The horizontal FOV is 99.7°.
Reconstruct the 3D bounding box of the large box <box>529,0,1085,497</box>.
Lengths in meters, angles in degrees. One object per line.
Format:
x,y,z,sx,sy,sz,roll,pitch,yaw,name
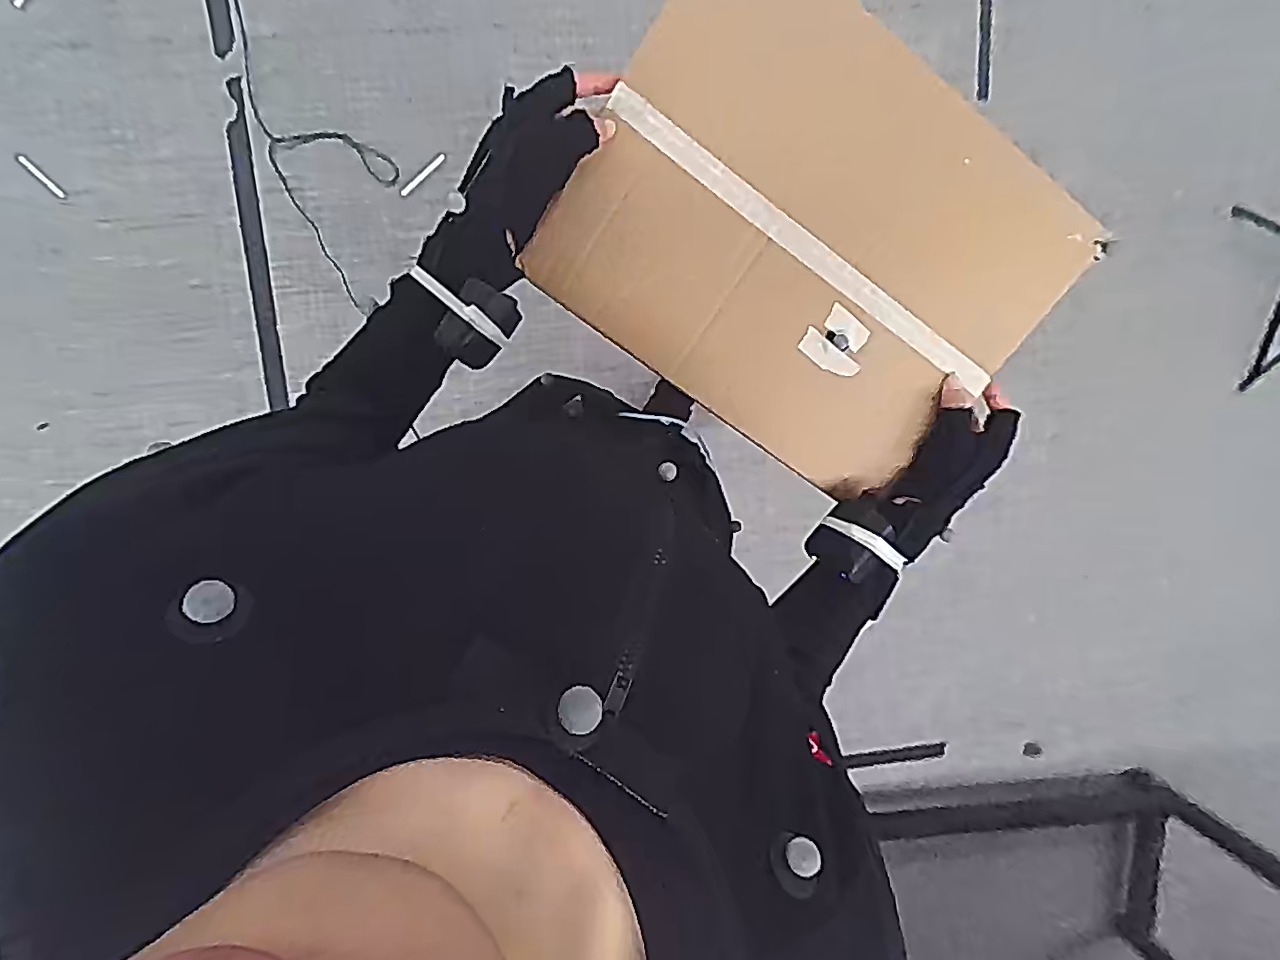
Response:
0.142,-0.247,0.619,0.408,0.320,0.320,33,104,-10,large box
